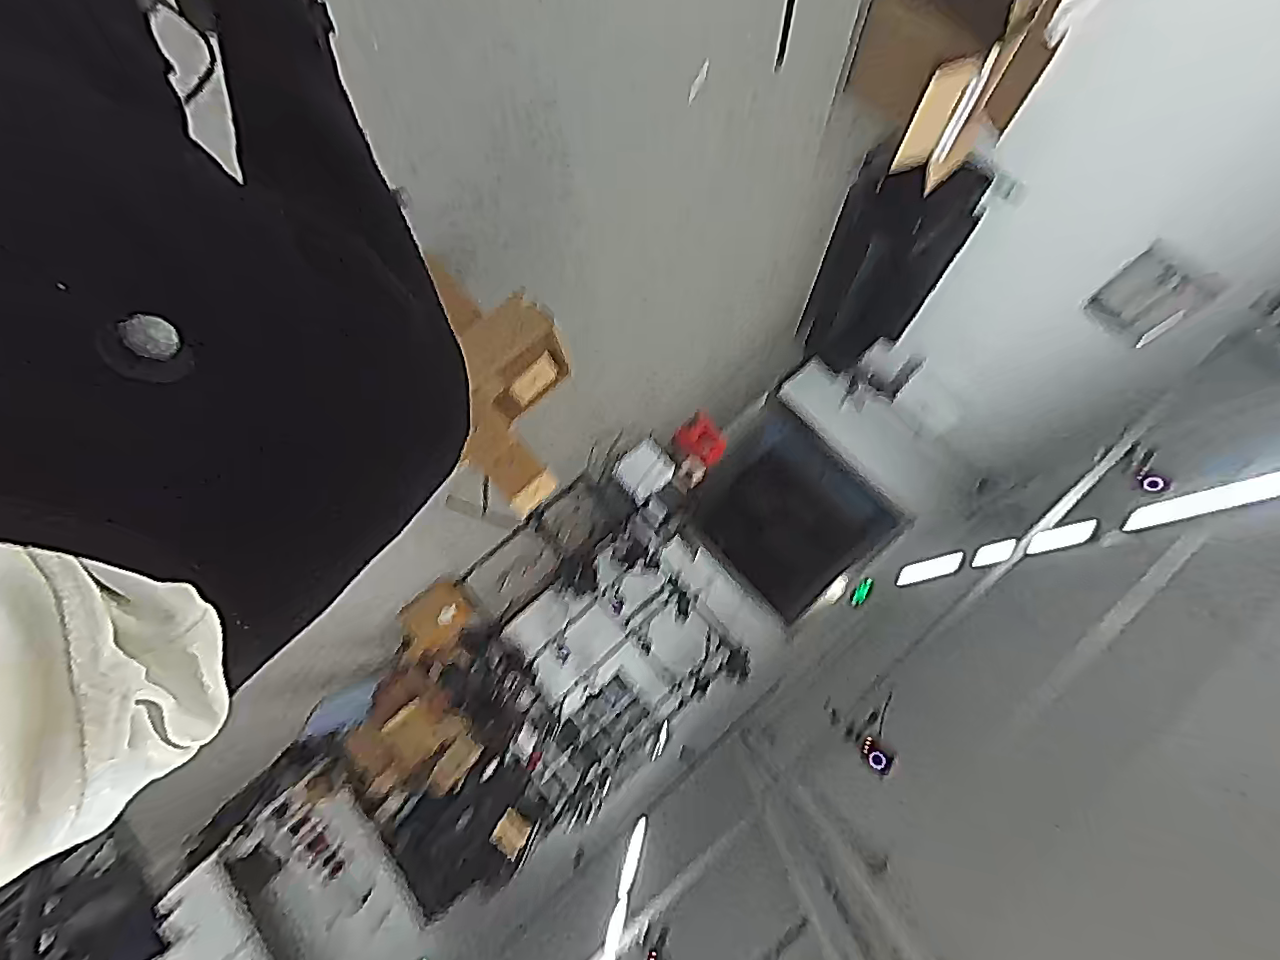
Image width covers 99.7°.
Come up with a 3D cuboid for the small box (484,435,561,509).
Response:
[{"bbox_3d":[-0.405,-0.029,1.865,0.168,0.176,0.179,-42,165,-5],"label":"small box"}]
